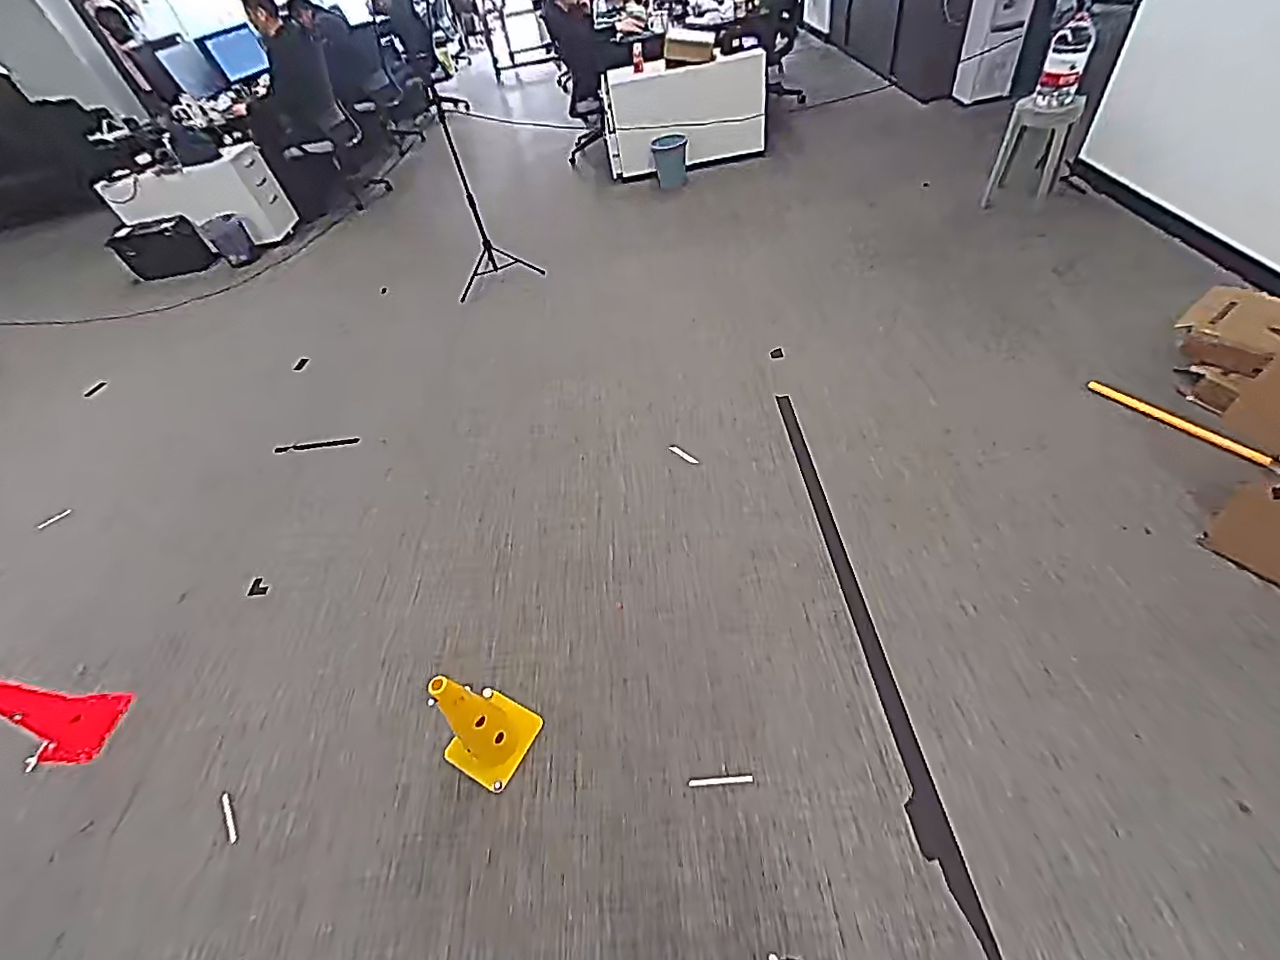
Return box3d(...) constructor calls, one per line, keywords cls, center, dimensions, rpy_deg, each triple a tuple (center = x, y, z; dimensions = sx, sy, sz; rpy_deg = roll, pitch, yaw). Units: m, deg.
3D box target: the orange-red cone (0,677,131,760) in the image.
box3d(cls="orange-red cone", center=(-1.688, 0.619, 1.499), dimensions=(0.199, 0.360, 0.198), rpy_deg=(-1, 49, 9))
